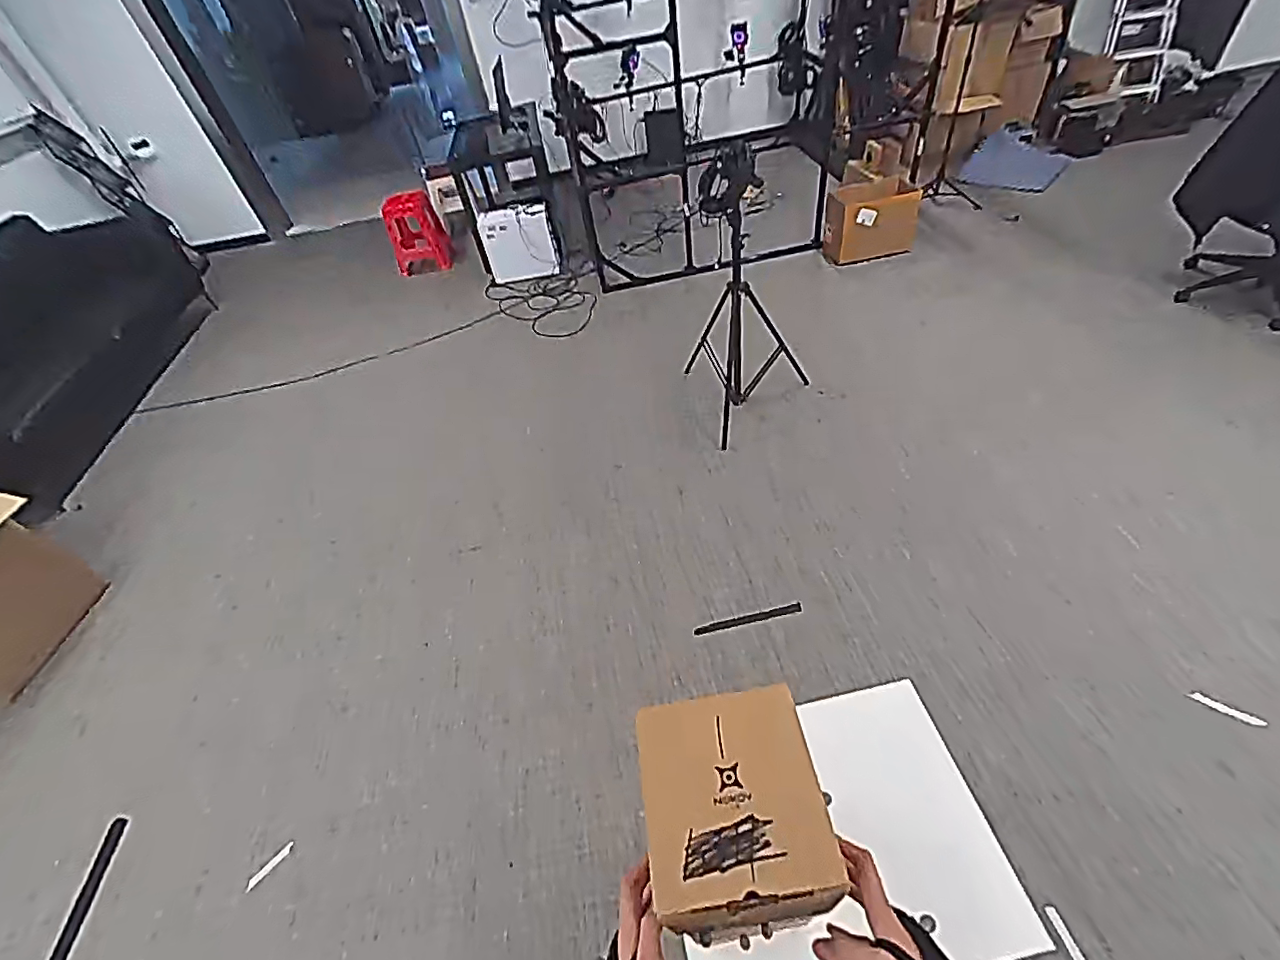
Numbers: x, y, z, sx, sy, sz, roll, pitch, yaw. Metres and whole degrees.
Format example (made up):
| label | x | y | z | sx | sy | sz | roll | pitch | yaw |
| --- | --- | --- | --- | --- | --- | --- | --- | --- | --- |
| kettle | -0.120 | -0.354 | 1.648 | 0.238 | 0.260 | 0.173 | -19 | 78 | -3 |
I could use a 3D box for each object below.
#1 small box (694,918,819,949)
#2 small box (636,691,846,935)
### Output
| label | x | y | z | sx | sy | sz | roll | pitch | yaw |
| --- | --- | --- | --- | --- | --- | --- | --- | --- | --- |
| small box | 0.150 | 0.566 | 0.799 | 0.168 | 0.176 | 0.179 | -12 | 46 | -1 |
| small box | 0.096 | 0.348 | 0.559 | 0.168 | 0.176 | 0.179 | -10 | 45 | 2 |
